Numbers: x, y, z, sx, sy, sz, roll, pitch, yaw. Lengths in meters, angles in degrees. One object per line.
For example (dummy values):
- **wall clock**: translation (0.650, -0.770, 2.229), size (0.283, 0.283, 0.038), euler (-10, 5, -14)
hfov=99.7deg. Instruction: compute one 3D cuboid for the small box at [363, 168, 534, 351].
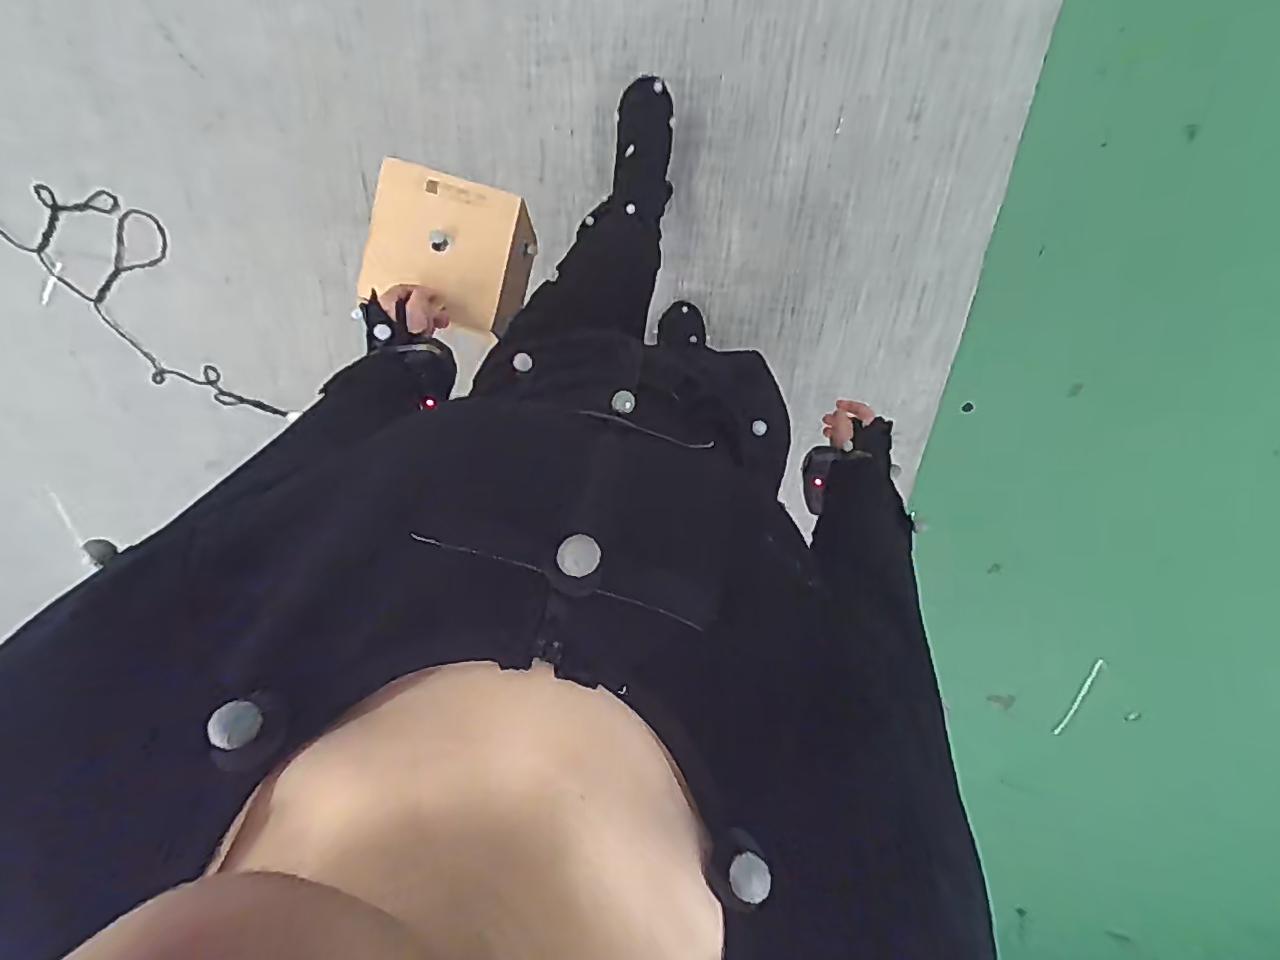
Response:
- **small box**: translation (-0.247, -0.287, 0.733), size (0.168, 0.179, 0.176), euler (13, 95, -7)
